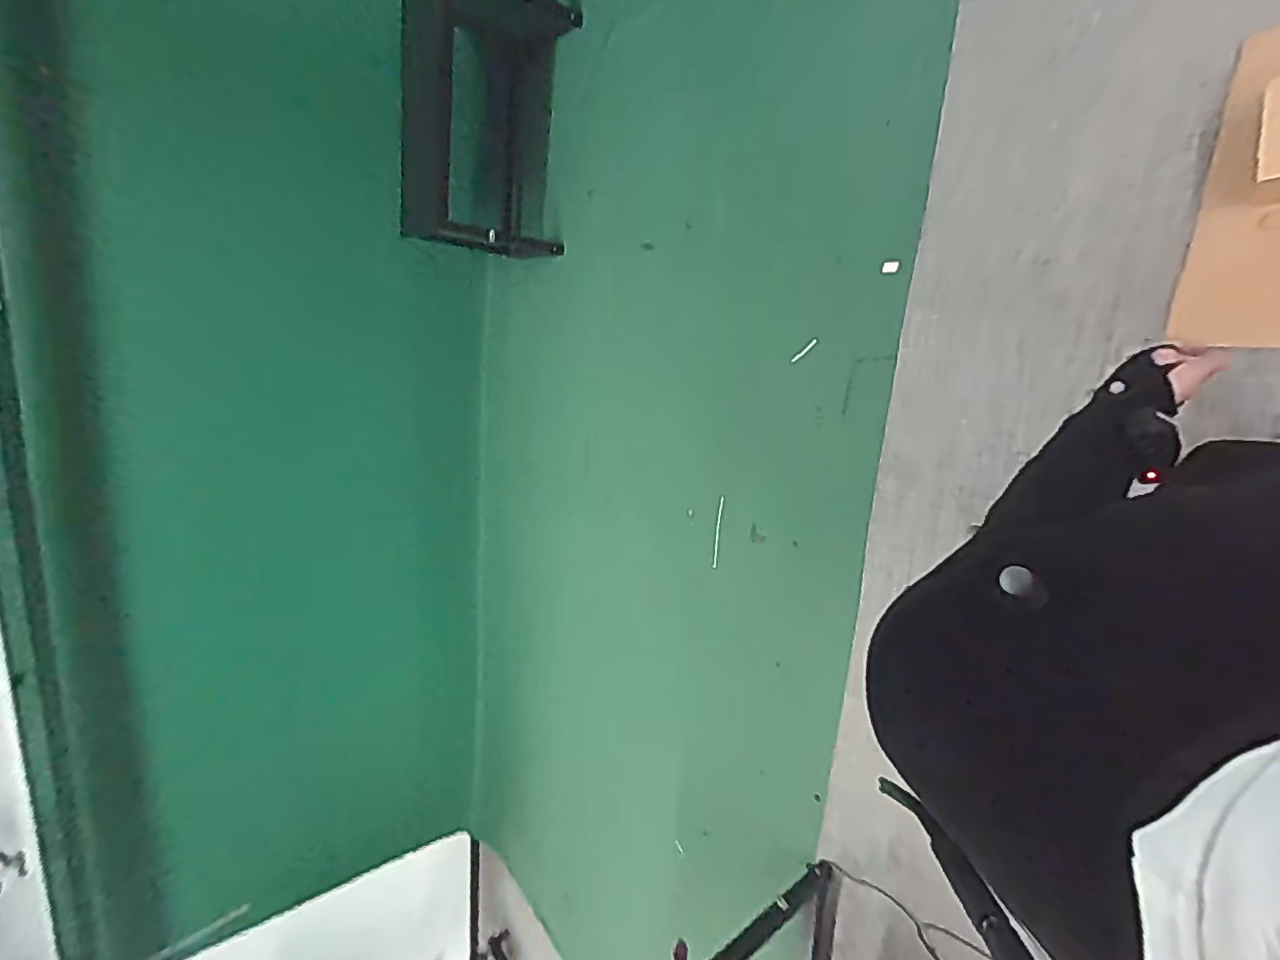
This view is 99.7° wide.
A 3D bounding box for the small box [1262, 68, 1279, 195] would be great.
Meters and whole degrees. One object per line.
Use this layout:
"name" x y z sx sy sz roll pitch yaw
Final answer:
"small box" 1.224 -0.633 0.945 0.168 0.176 0.179 7 99 51
